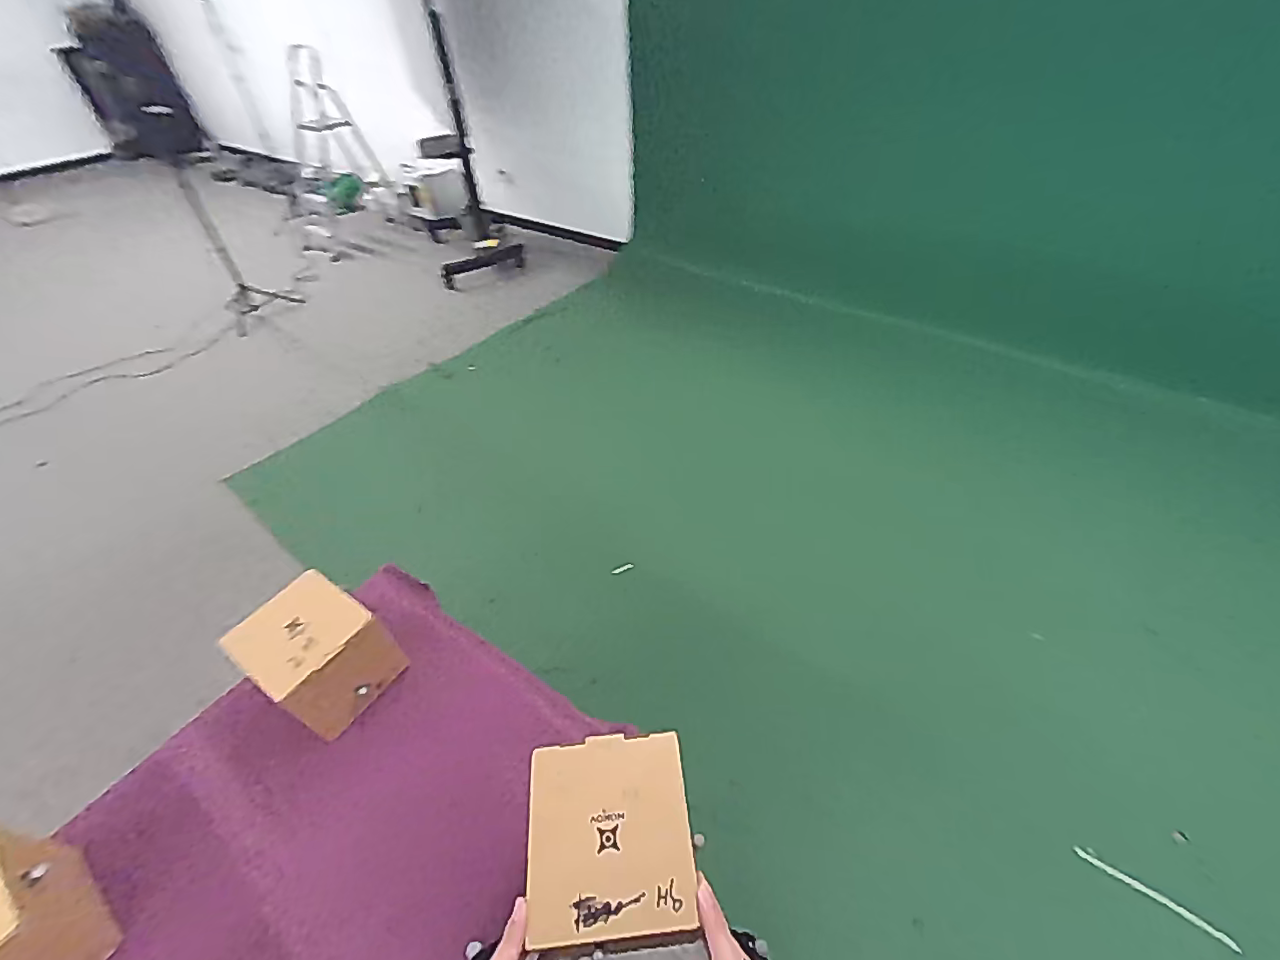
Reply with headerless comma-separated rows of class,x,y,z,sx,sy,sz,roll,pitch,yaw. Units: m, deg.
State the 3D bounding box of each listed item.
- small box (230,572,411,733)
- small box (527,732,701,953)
small box,-0.532,0.297,0.920,0.179,0.176,0.168,25,54,25
small box,-0.023,0.414,0.617,0.168,0.176,0.179,-7,46,2
